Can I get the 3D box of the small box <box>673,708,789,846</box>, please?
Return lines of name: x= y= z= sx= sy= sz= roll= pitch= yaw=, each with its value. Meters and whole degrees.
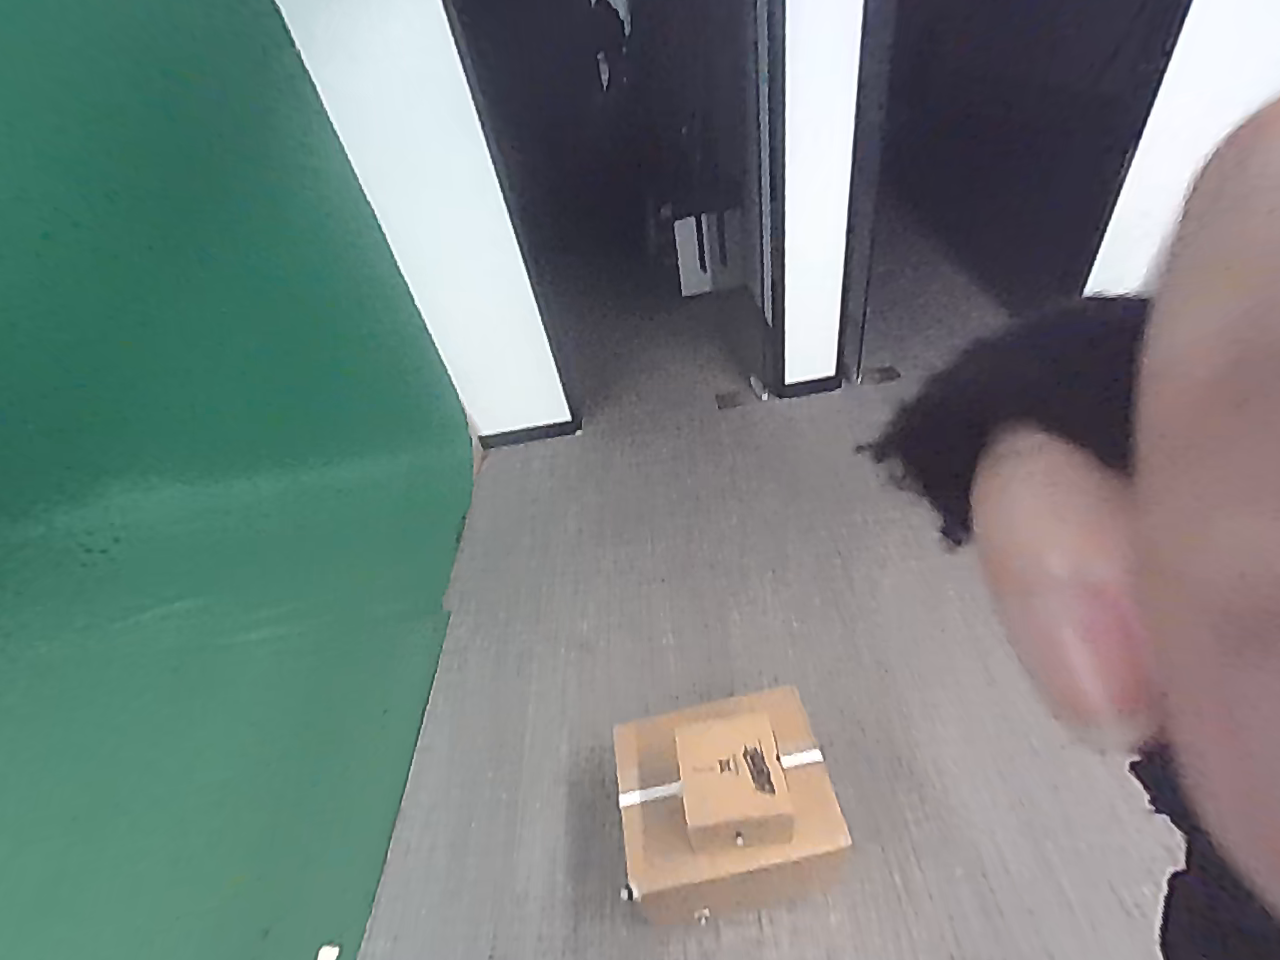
small box: x=0.163 y=0.542 z=0.984 sx=0.179 sy=0.176 sz=0.168 roll=-11 pitch=42 yaw=4
